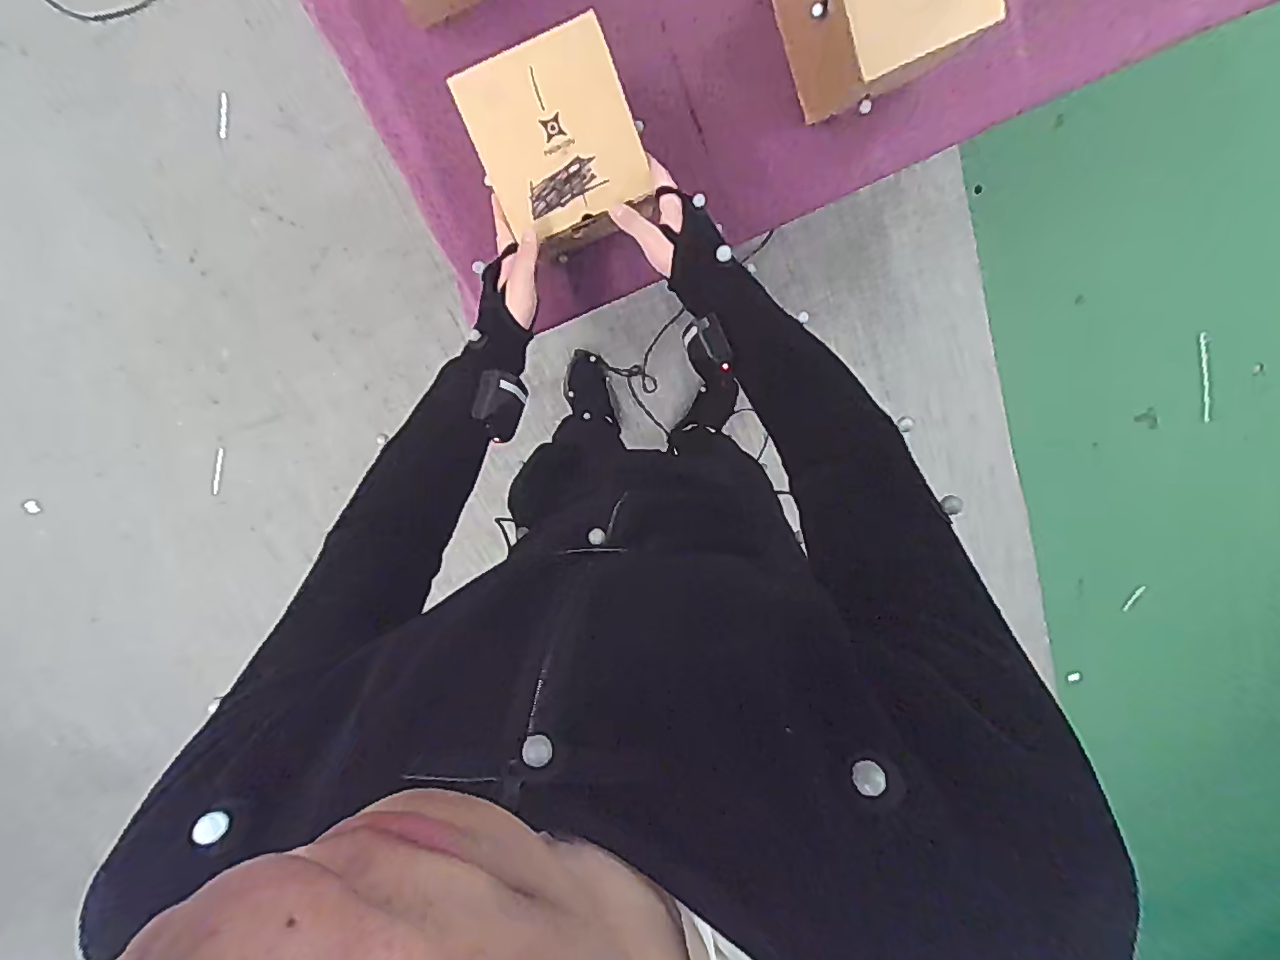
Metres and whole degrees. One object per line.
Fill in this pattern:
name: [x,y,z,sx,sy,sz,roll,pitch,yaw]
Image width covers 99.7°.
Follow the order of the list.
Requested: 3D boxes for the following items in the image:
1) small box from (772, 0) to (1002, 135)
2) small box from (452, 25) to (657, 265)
small box: [0.275,-0.548,0.634,0.168,0.176,0.179,-23,109,2]
small box: [-0.087,-0.367,0.638,0.168,0.176,0.179,-22,106,4]
